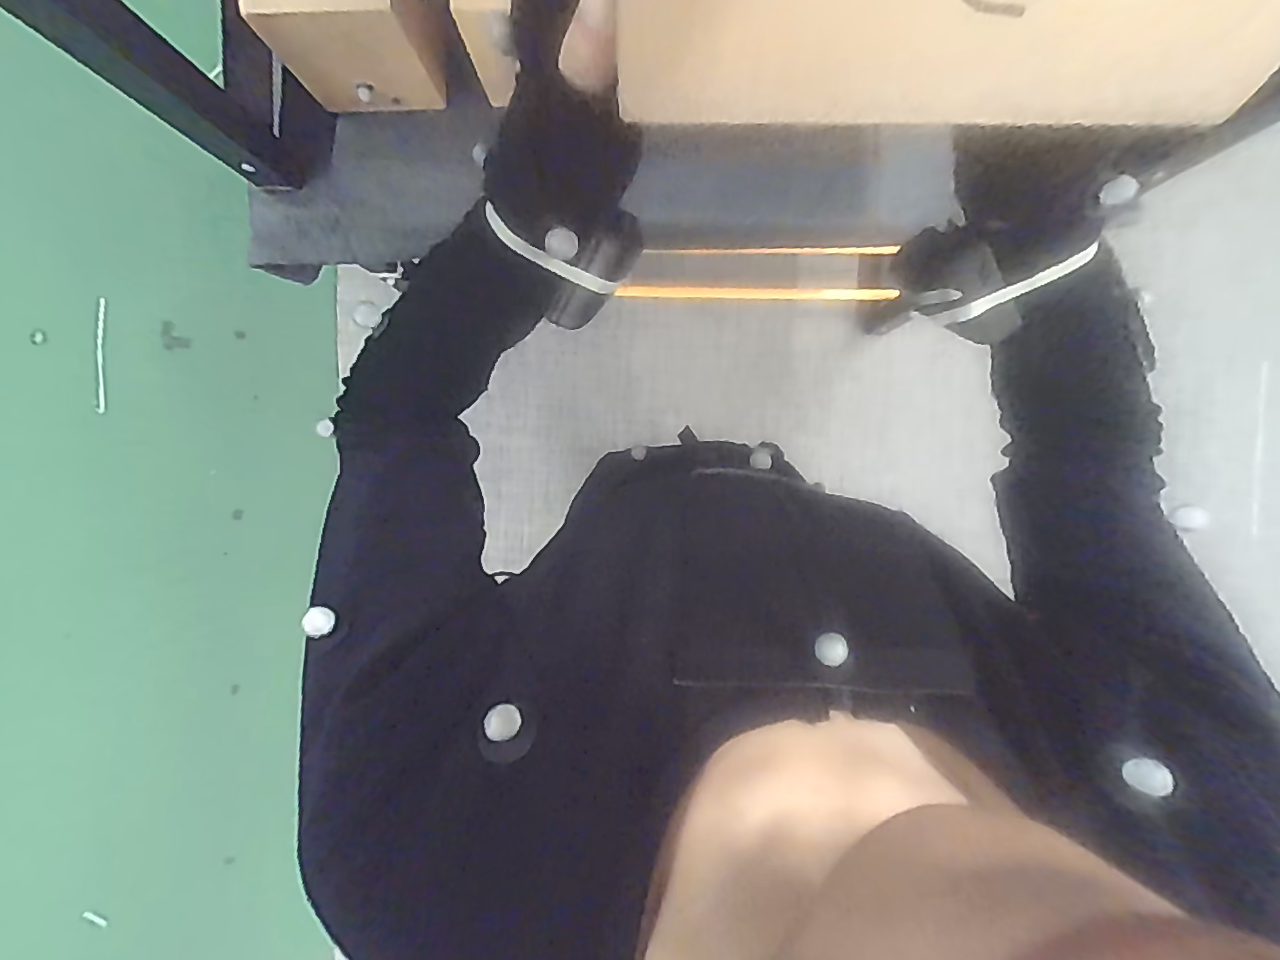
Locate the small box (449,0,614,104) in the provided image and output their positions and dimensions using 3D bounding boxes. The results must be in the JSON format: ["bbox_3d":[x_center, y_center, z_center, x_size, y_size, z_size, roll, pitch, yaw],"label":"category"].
[{"bbox_3d":[-0.119,-0.589,0.649,0.168,0.176,0.179,1,91,1],"label":"small box"}]

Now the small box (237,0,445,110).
[{"bbox_3d":[-0.346,-0.587,0.649,0.168,0.176,0.179,-1,92,1],"label":"small box"}]
